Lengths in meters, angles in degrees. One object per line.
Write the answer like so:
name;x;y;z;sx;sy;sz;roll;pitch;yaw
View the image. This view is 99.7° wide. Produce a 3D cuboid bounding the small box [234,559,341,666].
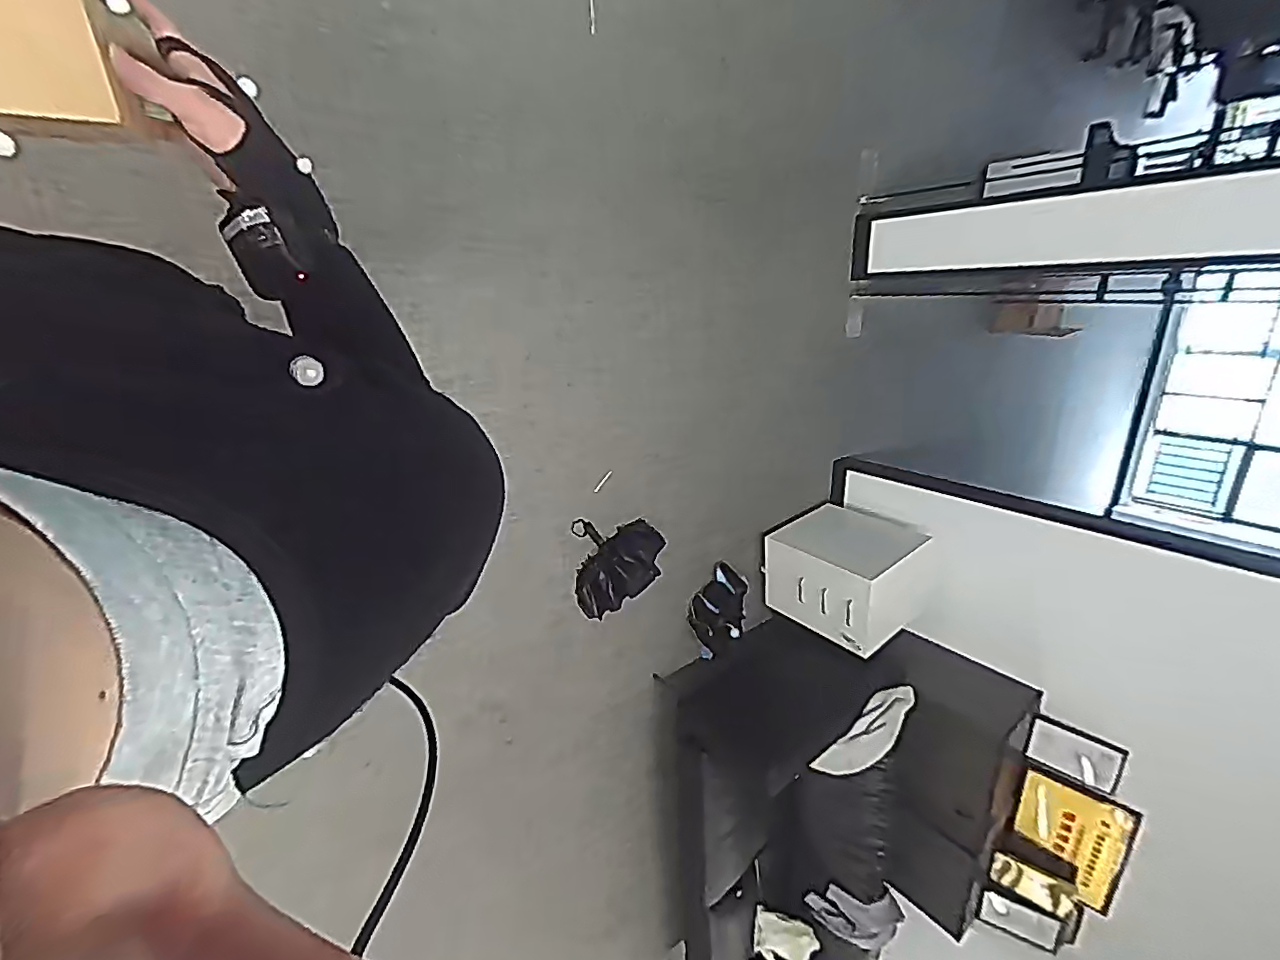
small box;-0.890;0.320;1.360;0.168;0.176;0.179;-30;123;-26
